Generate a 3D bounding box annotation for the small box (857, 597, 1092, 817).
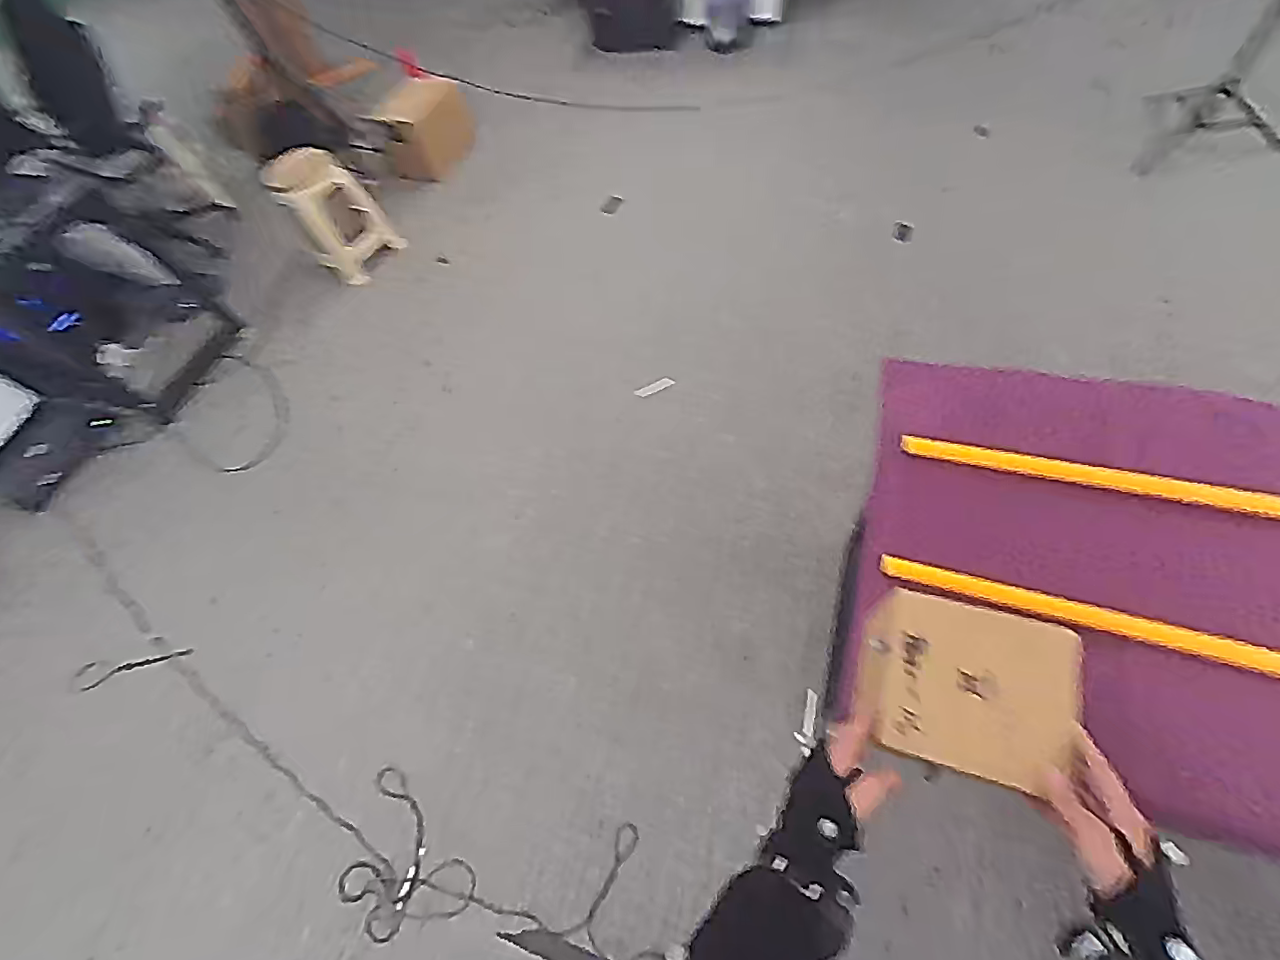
[{"bbox_3d":[0.365,0.251,0.615,0.179,0.176,0.168,13,68,16],"label":"small box"}]
